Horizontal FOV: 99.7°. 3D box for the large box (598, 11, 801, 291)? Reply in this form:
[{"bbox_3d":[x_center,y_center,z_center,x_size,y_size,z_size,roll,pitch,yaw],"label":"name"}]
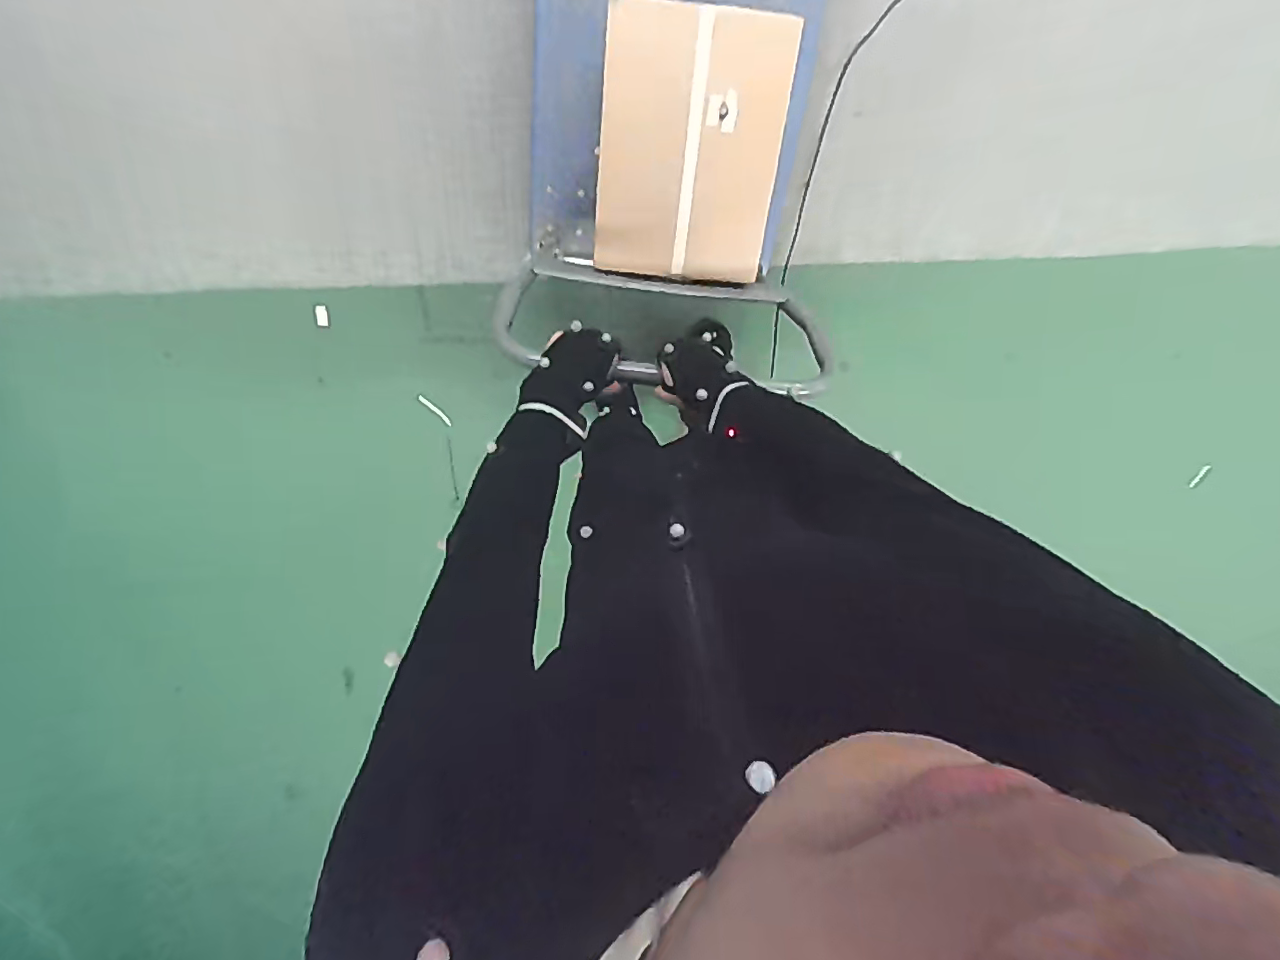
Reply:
[{"bbox_3d":[0.089,-0.609,1.072,0.320,0.320,0.408,4,115,-4],"label":"large box"}]
